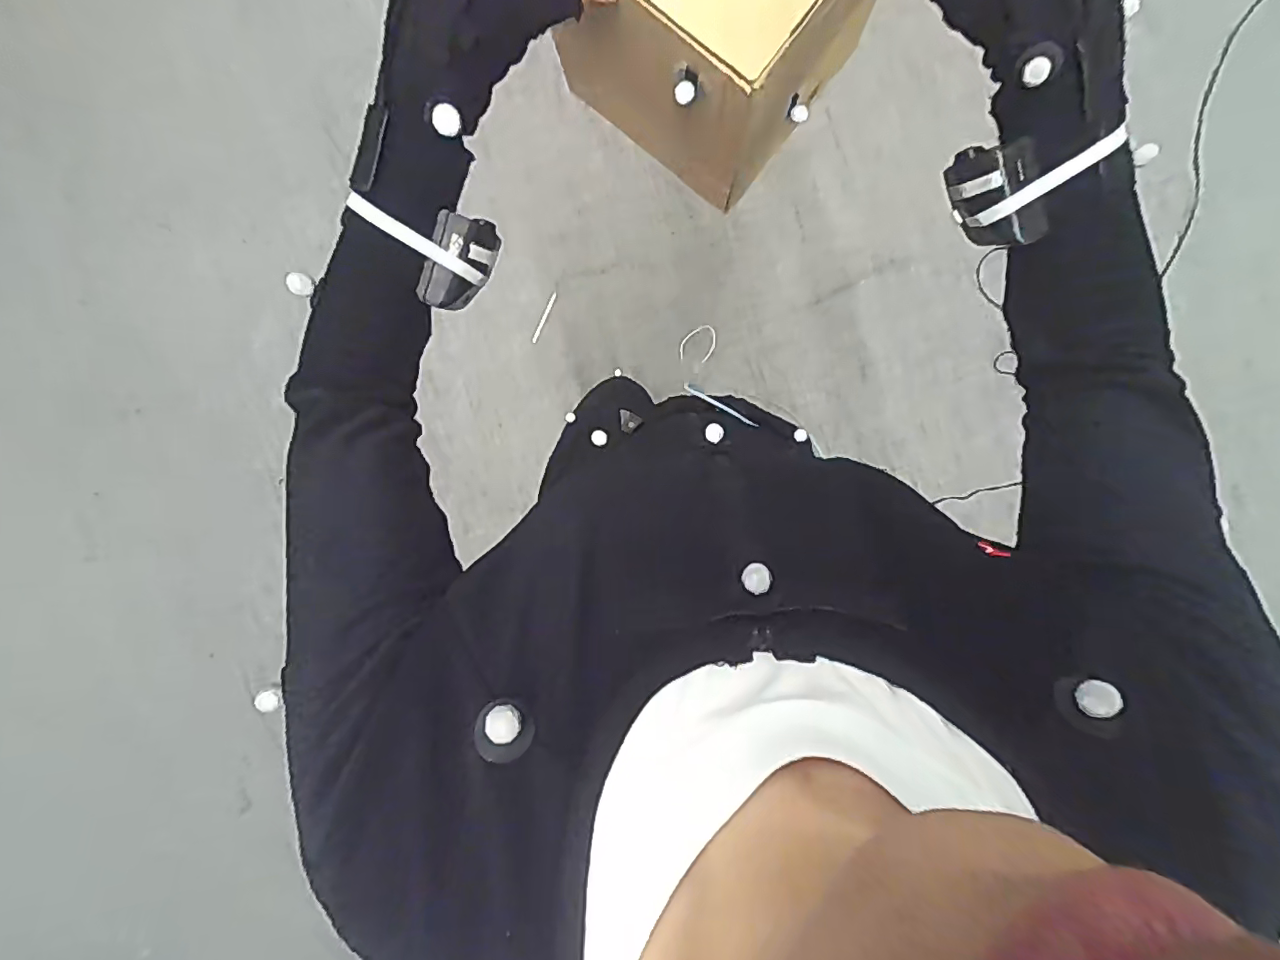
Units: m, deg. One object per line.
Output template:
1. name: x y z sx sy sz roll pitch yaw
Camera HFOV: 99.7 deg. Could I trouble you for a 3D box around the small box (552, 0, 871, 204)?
1. small box: 0.049 -0.336 0.378 0.179 0.176 0.168 39 95 0
